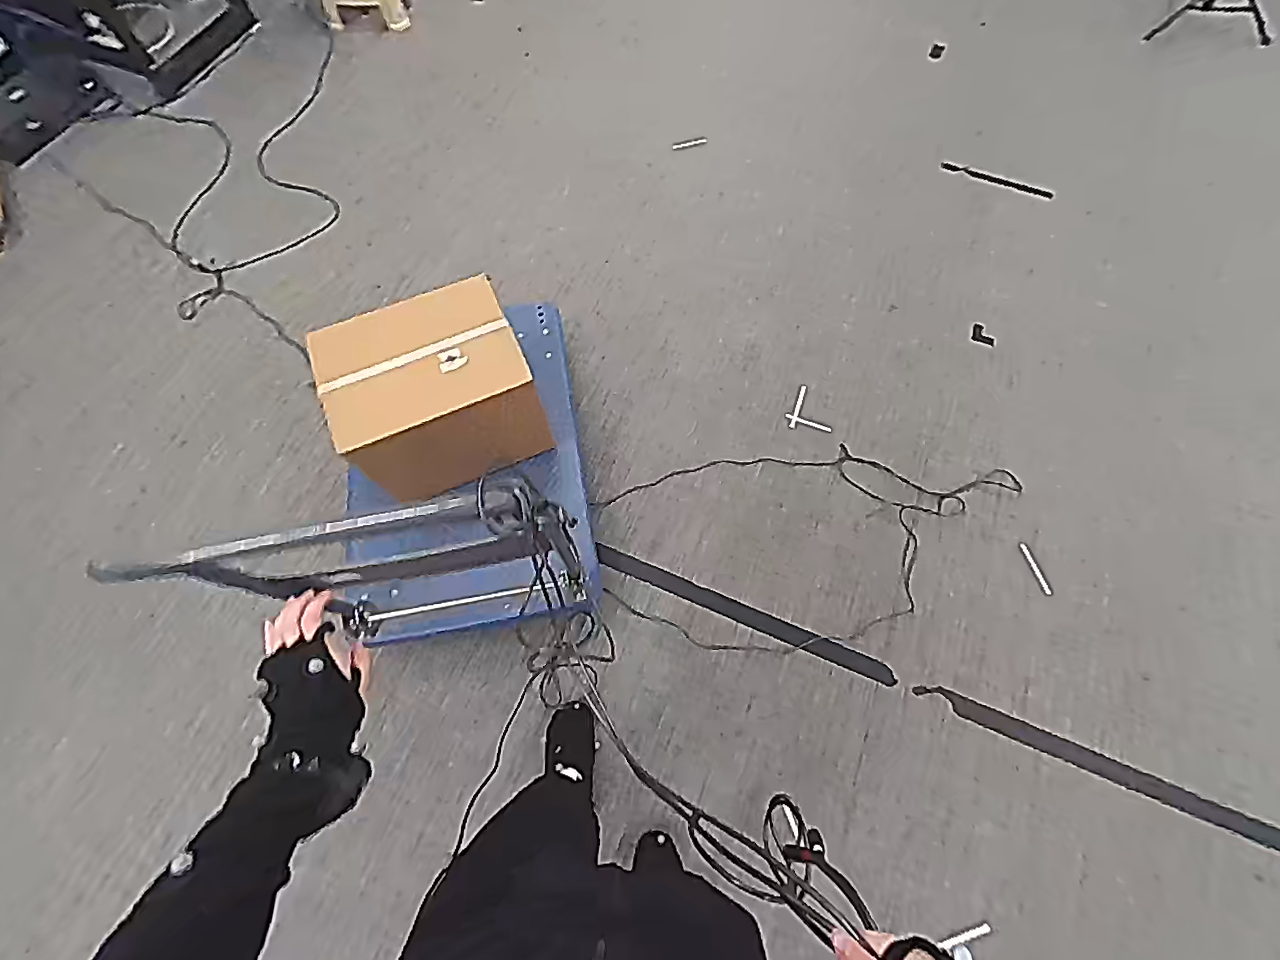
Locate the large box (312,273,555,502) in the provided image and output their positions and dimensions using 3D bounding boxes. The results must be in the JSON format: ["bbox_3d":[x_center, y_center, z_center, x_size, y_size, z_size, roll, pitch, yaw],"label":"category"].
[{"bbox_3d":[-0.453,-0.201,1.253,0.408,0.320,0.320,-22,70,-9],"label":"large box"}]
